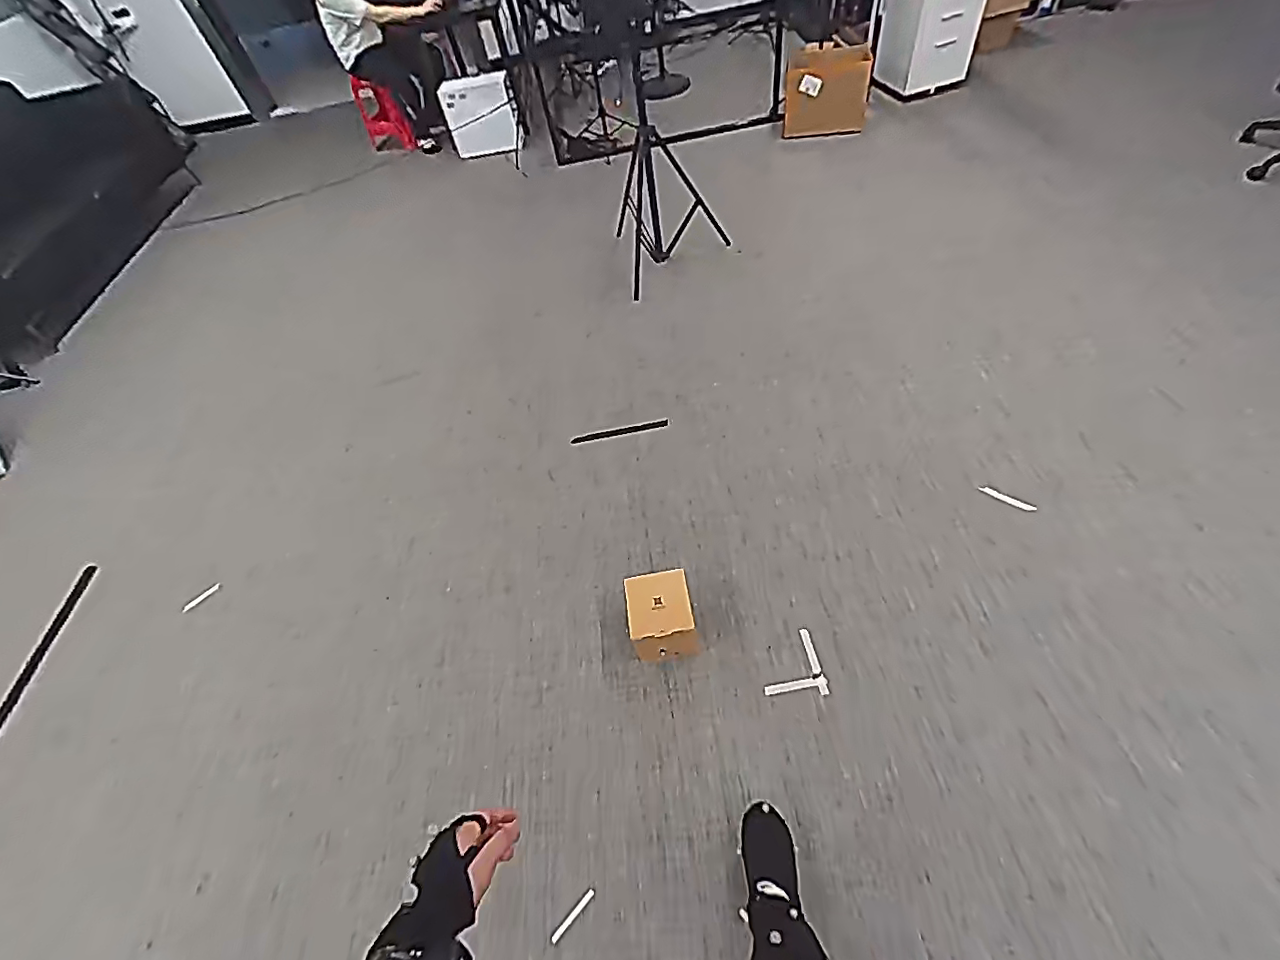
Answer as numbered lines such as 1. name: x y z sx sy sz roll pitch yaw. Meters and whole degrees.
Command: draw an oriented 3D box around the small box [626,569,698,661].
1. small box: 0.061 0.367 1.464 0.168 0.176 0.179 -11 52 2
